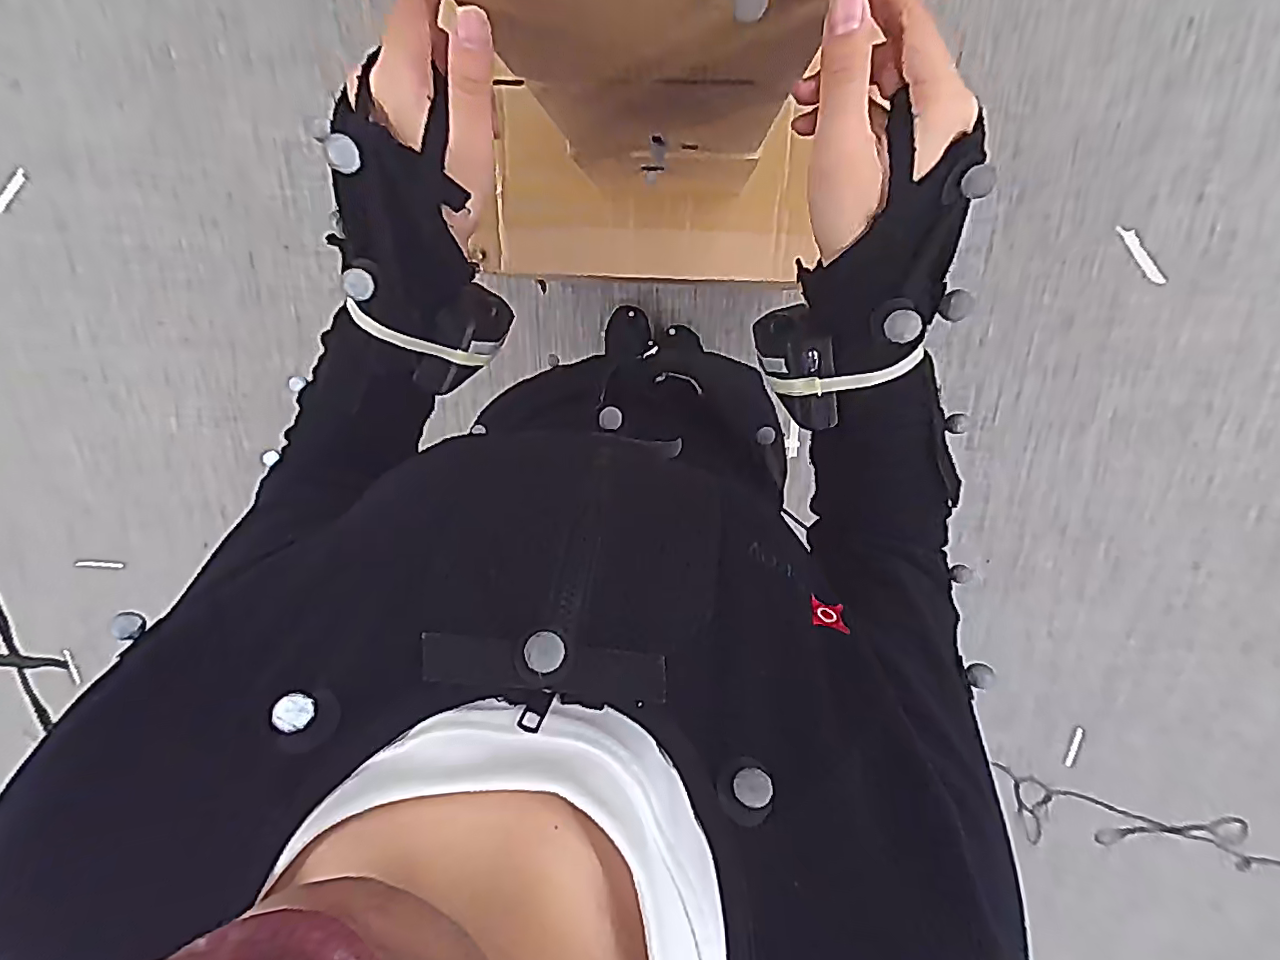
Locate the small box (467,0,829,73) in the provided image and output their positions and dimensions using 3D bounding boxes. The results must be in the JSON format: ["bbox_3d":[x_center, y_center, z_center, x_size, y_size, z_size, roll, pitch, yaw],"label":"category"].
[{"bbox_3d":[0.006,-0.292,0.218,0.179,0.176,0.168,3,109,3],"label":"small box"}]

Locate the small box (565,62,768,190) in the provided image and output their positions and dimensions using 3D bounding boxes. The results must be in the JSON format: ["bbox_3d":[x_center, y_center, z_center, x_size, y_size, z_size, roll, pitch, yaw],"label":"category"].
[{"bbox_3d":[0.029,-0.392,0.531,0.179,0.176,0.168,3,109,3],"label":"small box"}]
